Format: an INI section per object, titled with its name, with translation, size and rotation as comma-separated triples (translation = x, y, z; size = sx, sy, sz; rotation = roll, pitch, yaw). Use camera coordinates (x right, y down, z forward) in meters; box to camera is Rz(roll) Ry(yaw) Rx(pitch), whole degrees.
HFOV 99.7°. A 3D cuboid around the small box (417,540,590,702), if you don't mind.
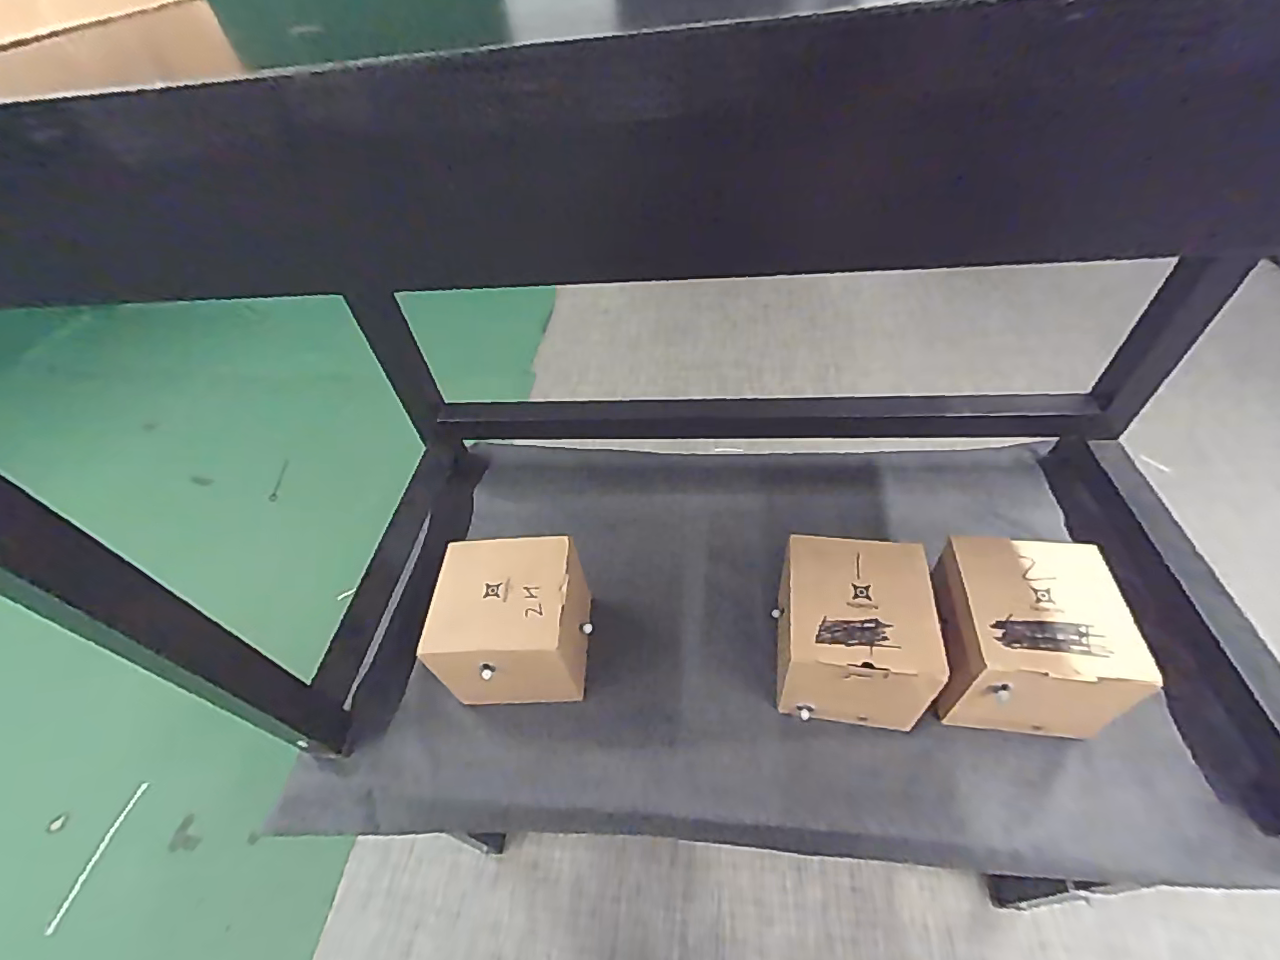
[small box]
translation = -0.175, 0.201, 0.758
size = 0.179, 0.176, 0.168
rotation = -3, 48, 5
